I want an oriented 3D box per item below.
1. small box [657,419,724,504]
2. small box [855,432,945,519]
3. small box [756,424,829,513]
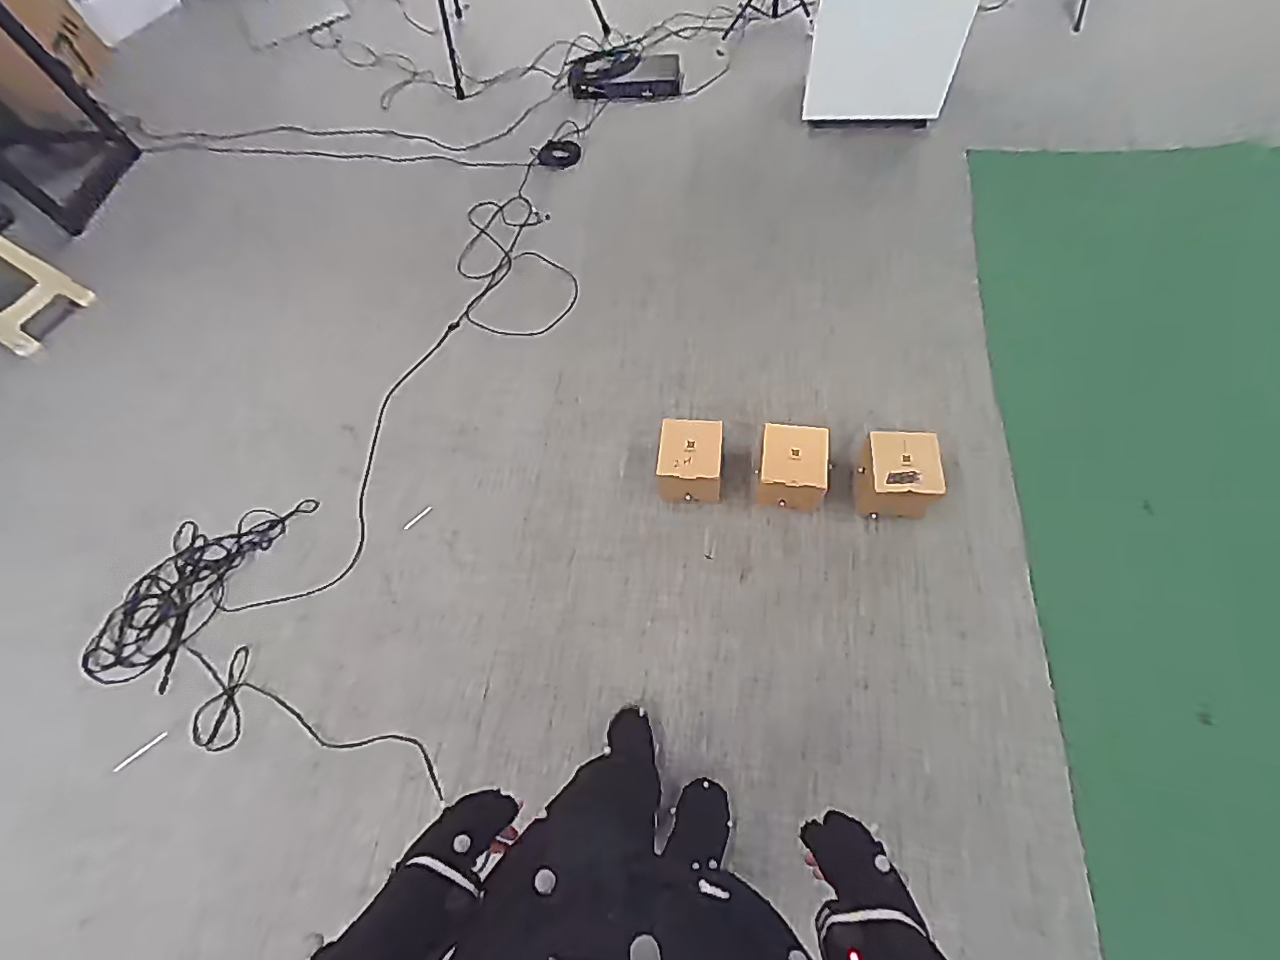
[{"bbox_3d":[0.143,-0.050,1.497,0.168,0.176,0.179,4,65,10],"label":"small box"},{"bbox_3d":[0.673,-0.008,1.418,0.168,0.176,0.179,3,64,8],"label":"small box"},{"bbox_3d":[0.408,-0.028,1.459,0.168,0.176,0.179,6,65,9],"label":"small box"}]
